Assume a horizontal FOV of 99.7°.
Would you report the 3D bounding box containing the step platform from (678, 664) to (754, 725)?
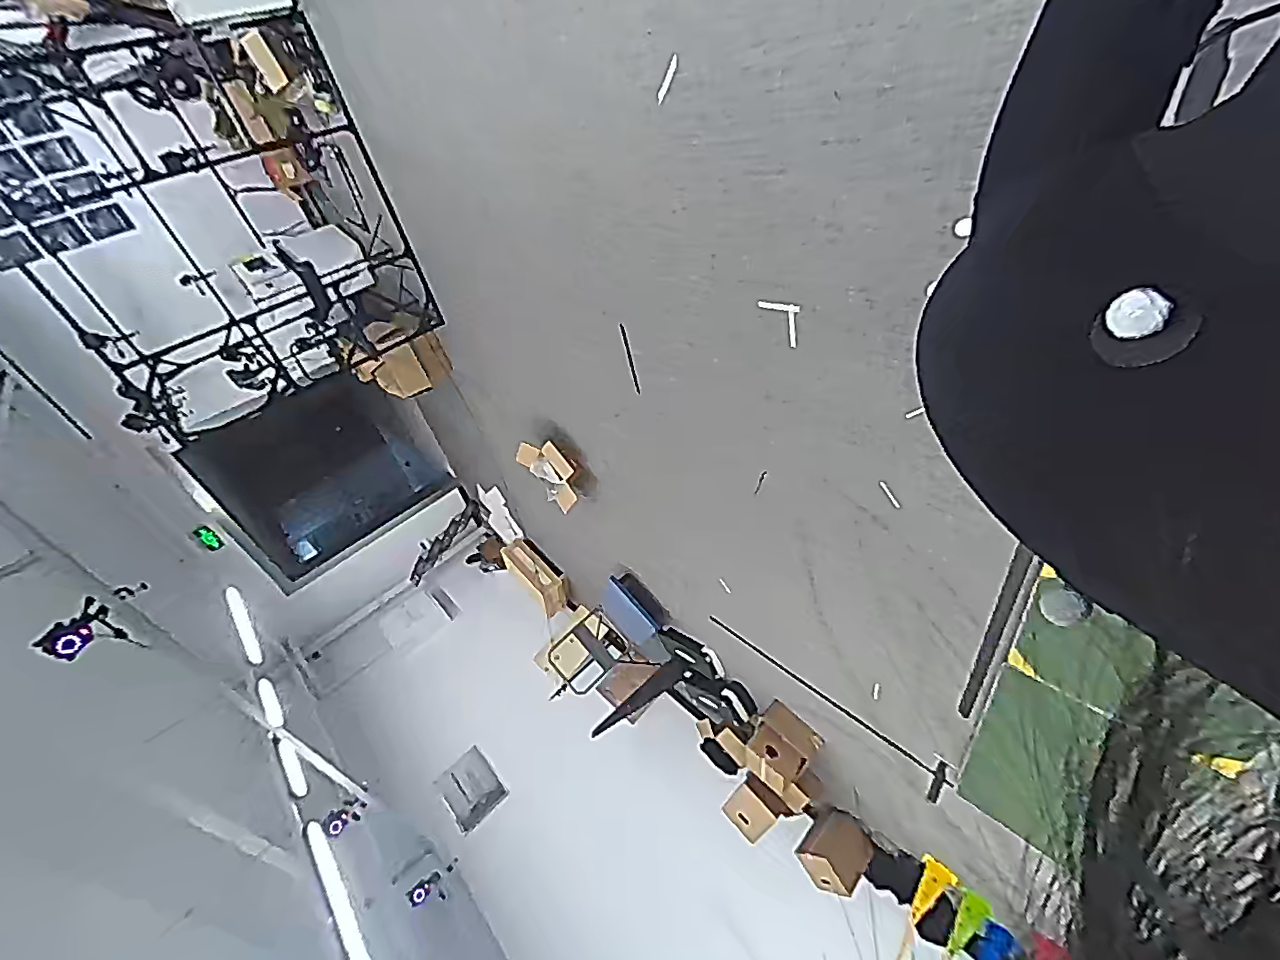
[{"bbox_3d":[0.595,1.731,4.383,0.286,0.204,0.684,59,153,-13],"label":"step platform"}]
